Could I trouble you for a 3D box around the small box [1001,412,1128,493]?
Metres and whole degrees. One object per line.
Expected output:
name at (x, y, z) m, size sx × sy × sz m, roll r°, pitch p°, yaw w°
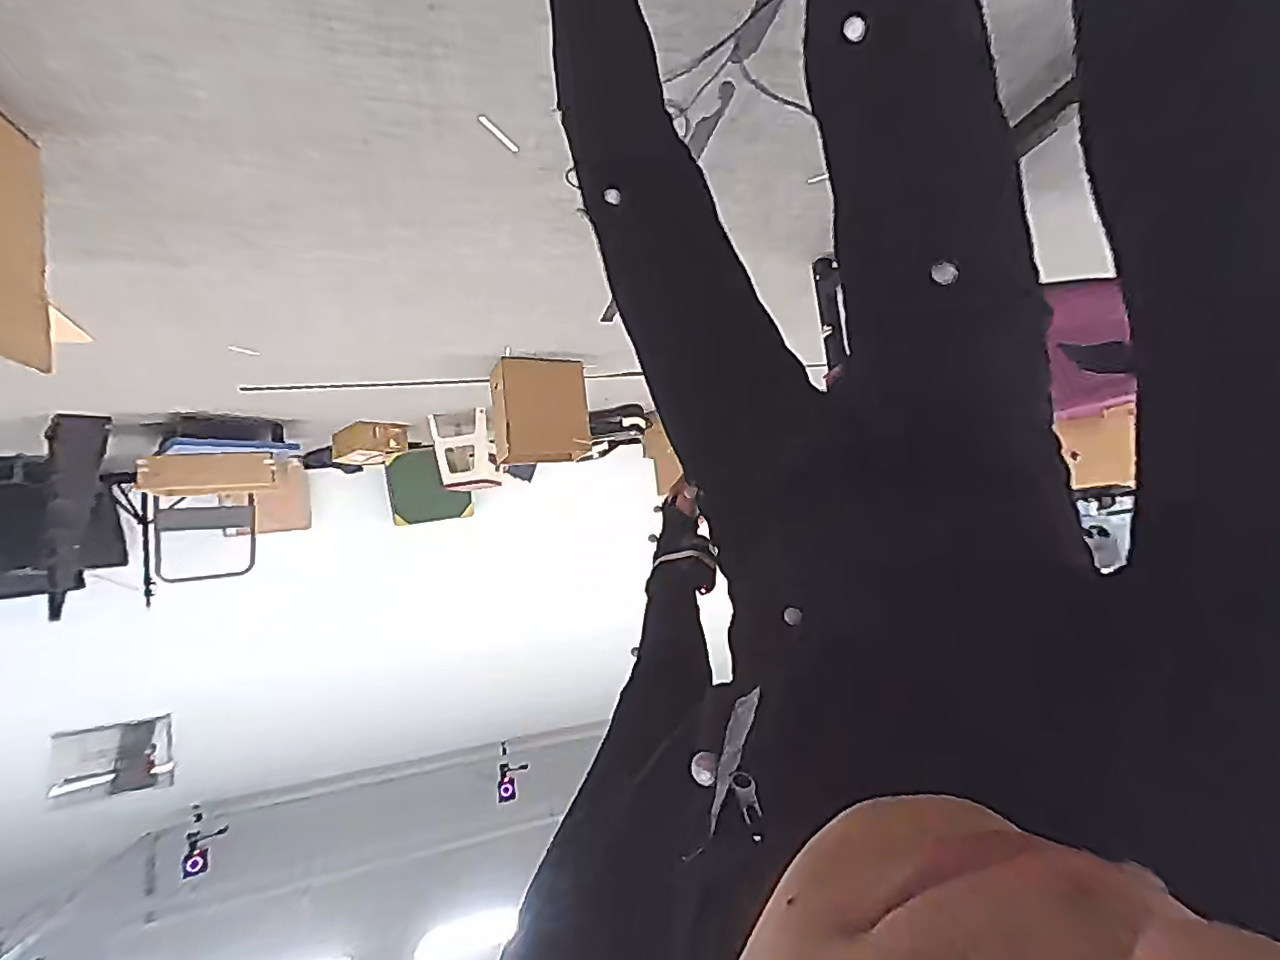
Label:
small box at (1.044, -0.066, 1.345) m, size 0.179 × 0.176 × 0.168 m, roll -7°, pitch 176°, yaw -7°
